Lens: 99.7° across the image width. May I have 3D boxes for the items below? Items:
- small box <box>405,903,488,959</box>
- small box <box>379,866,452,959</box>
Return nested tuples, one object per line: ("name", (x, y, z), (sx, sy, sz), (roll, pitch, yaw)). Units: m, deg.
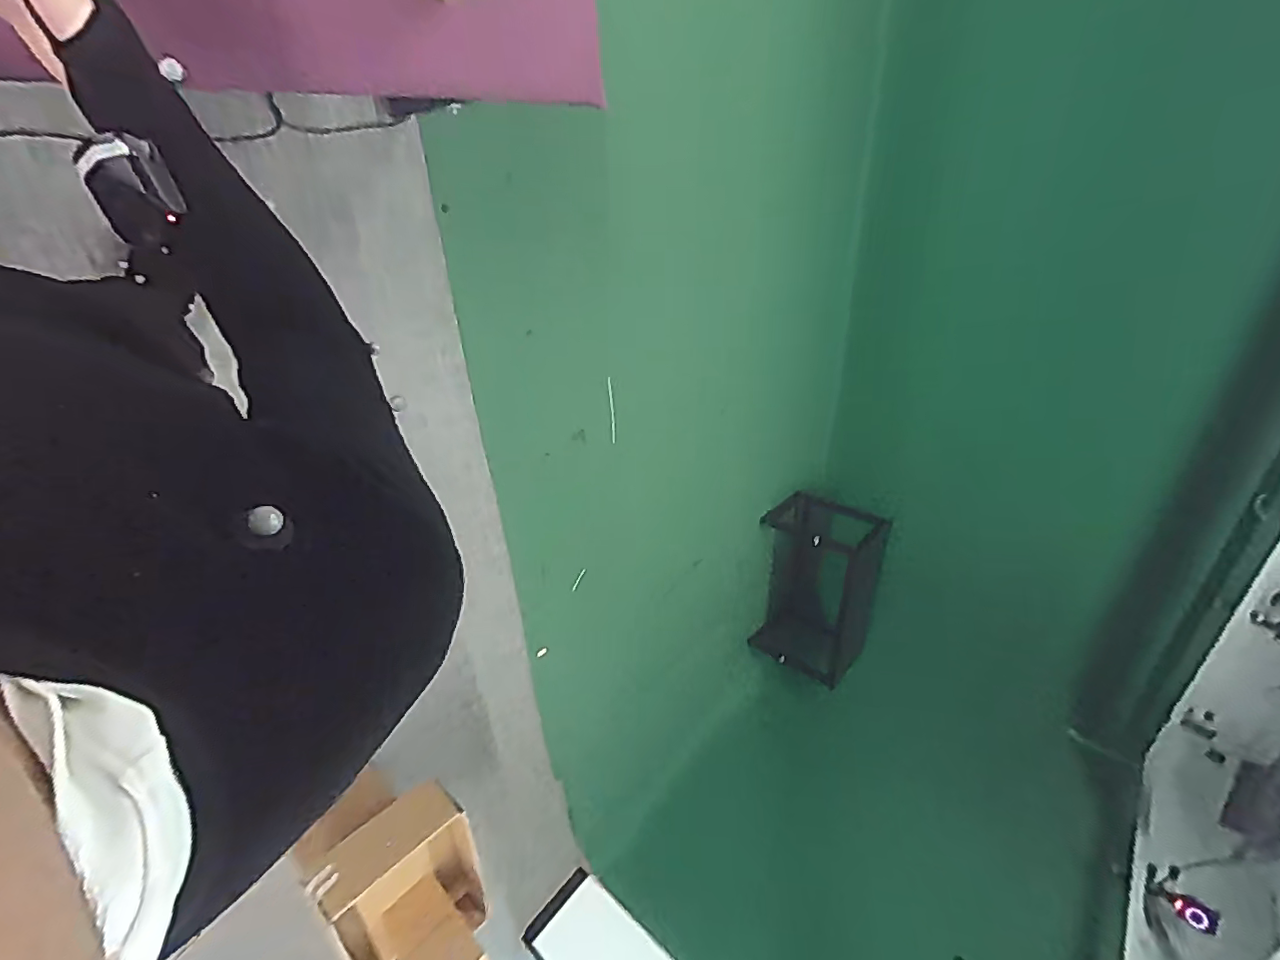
("small box", (-0.588, 1.451, 1.635), (0.179, 0.176, 0.168), (-31, 129, -41))
("small box", (-0.712, 1.406, 1.734), (0.179, 0.176, 0.168), (-28, 128, -41))
